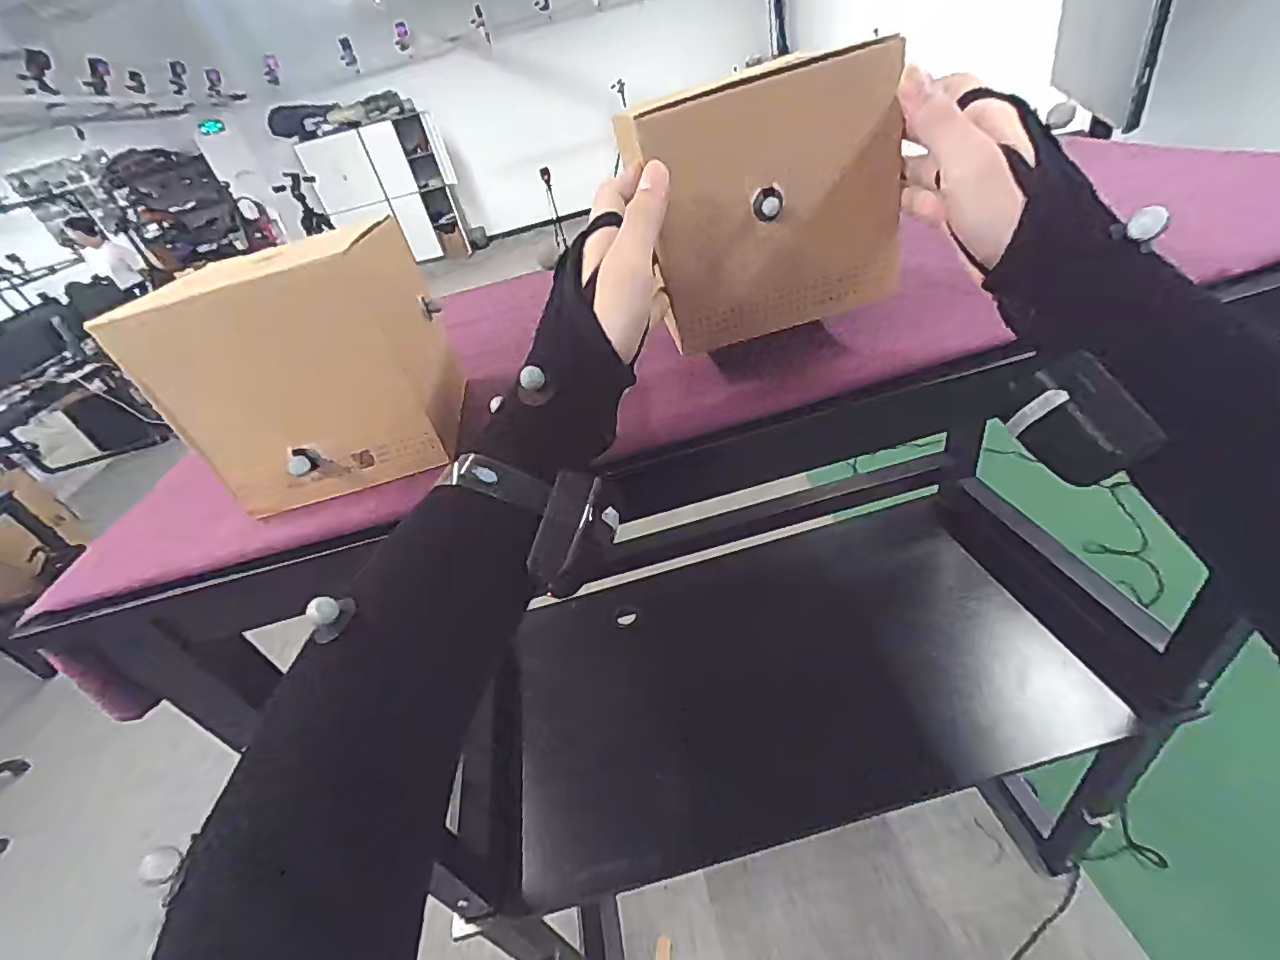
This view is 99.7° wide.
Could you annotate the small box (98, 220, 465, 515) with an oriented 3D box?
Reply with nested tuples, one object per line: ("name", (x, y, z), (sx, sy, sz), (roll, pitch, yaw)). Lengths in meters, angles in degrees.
("small box", (-0.261, -0.099, 0.454), (0.168, 0.176, 0.179), (-17, 35, -1))

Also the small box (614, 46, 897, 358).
("small box", (0.087, -0.225, 0.448), (0.179, 0.176, 0.168), (-16, 35, 4))
